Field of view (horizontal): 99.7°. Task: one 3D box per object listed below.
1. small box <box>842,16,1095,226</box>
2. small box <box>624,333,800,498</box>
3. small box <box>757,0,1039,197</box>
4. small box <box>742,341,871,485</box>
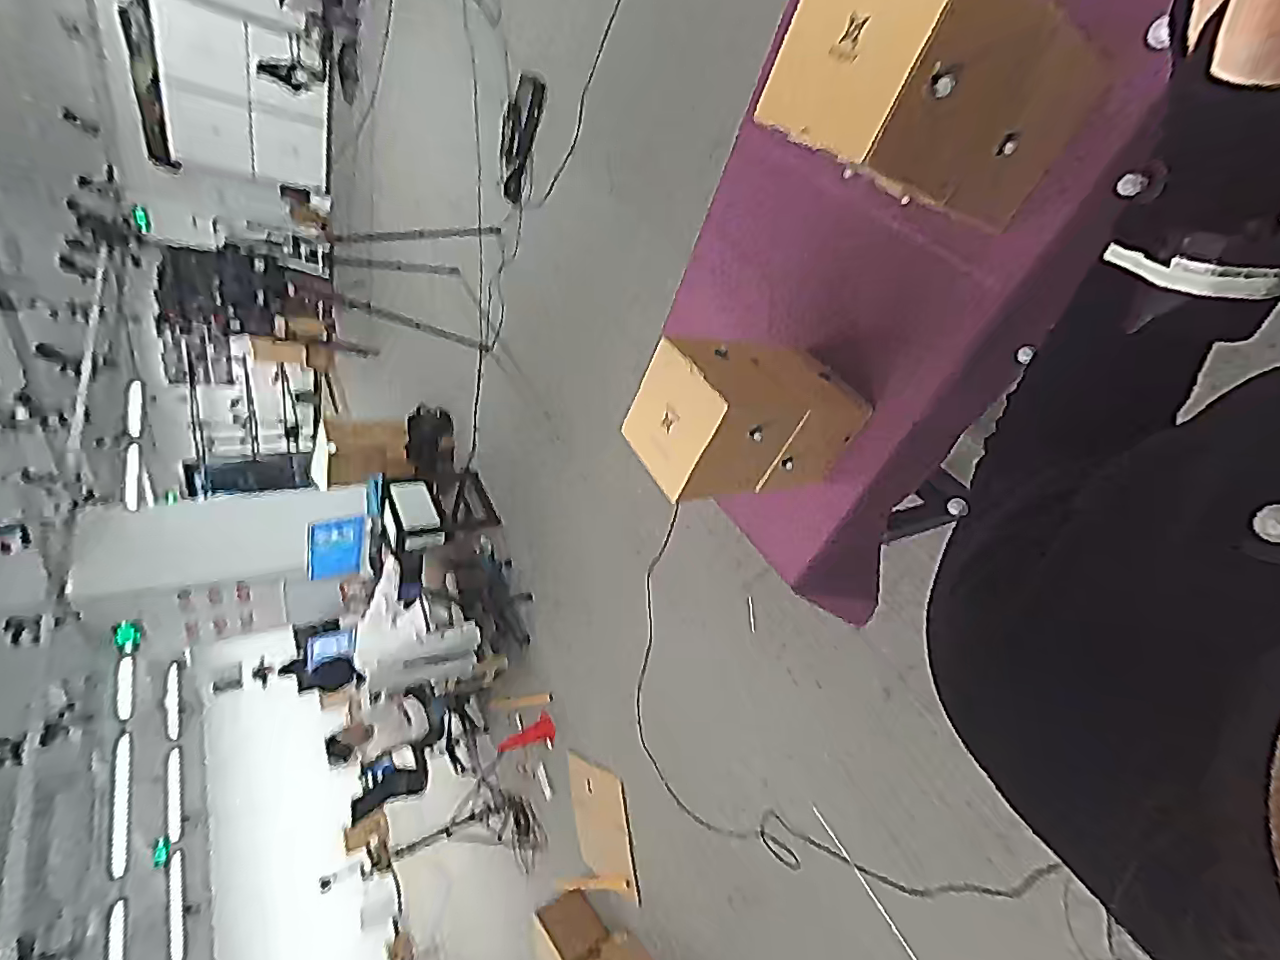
[{"bbox_3d":[0.391,-0.433,0.653,0.168,0.176,0.179,53,134,34],"label":"small box"},{"bbox_3d":[0.109,-0.097,0.808,0.168,0.176,0.179,56,136,33],"label":"small box"},{"bbox_3d":[0.262,-0.421,0.554,0.168,0.176,0.179,52,135,34],"label":"small box"},{"bbox_3d":[0.240,-0.112,0.906,0.179,0.176,0.168,55,135,34],"label":"small box"}]
